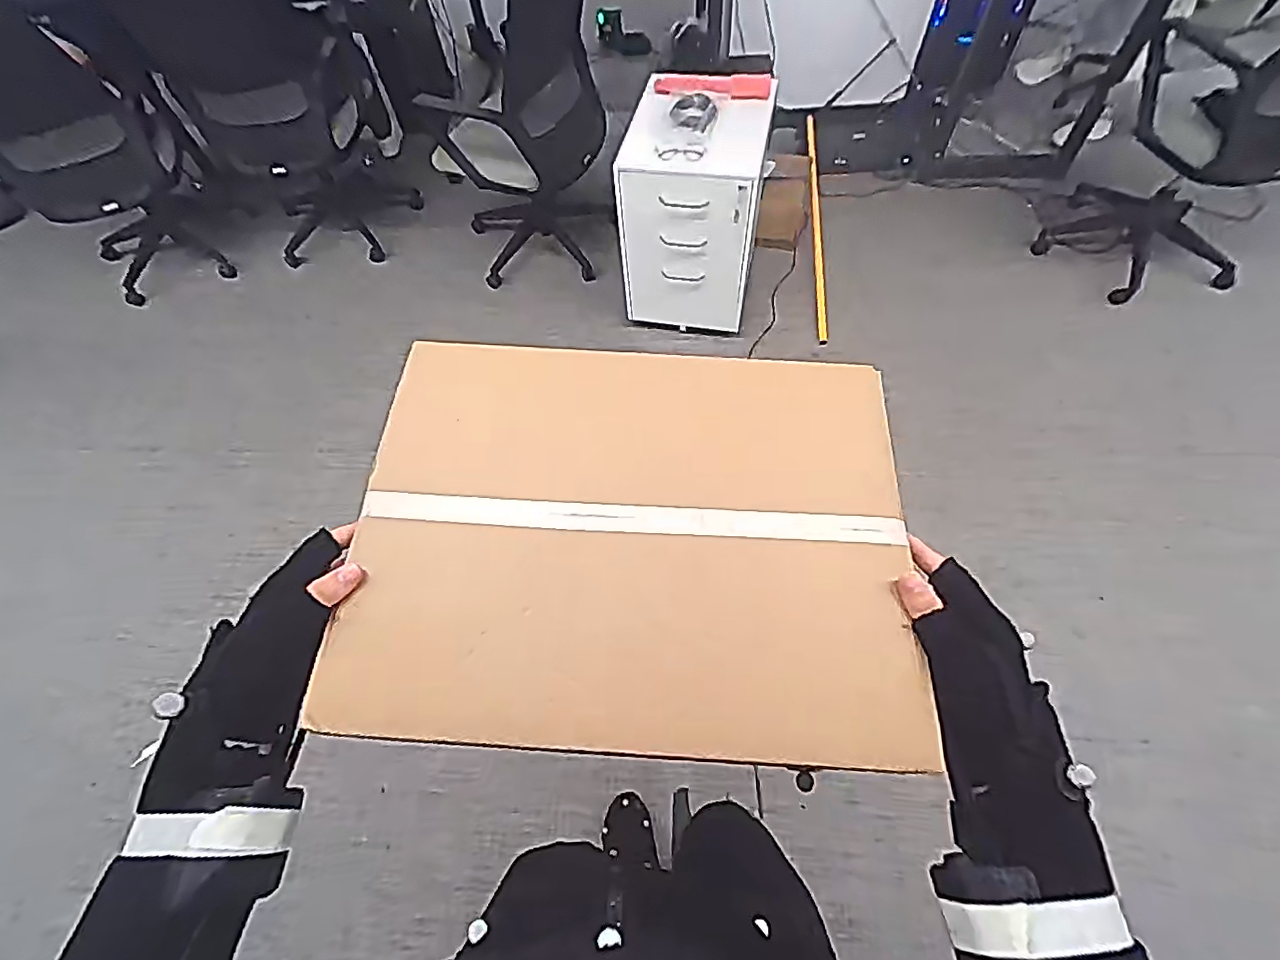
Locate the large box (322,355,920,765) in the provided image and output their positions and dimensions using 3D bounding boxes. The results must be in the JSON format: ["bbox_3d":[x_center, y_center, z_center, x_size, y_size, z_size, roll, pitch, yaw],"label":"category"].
[{"bbox_3d":[-0.006,0.099,0.552,0.408,0.320,0.320,4,63,1],"label":"large box"}]
